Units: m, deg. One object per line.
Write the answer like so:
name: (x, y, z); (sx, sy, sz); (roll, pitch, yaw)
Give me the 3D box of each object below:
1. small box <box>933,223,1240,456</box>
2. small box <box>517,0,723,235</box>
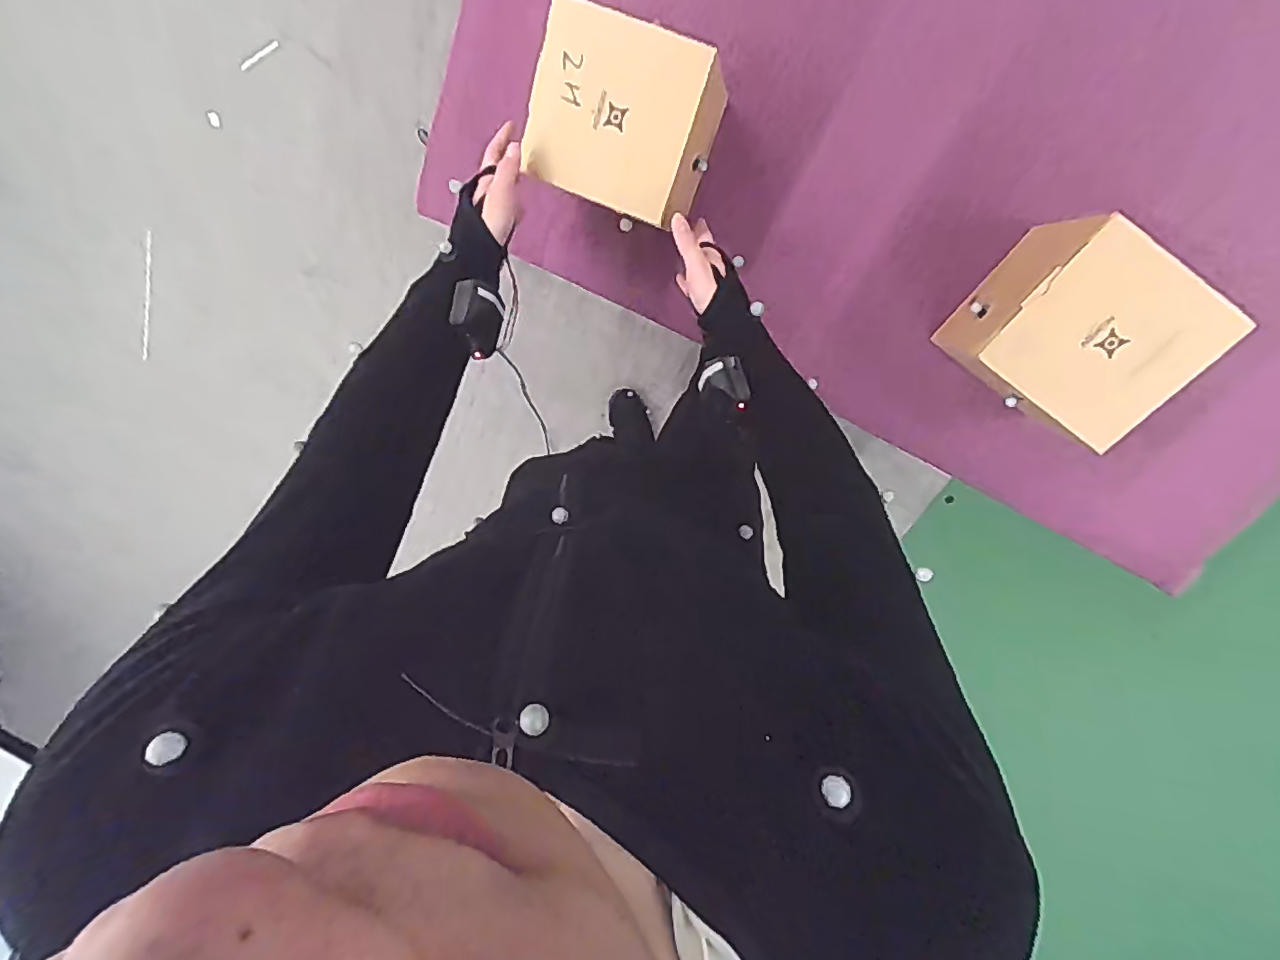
small box: (0.476, -0.160, 0.615); (0.179, 0.176, 0.168); (37, 114, -4)
small box: (-0.014, -0.399, 0.631); (0.179, 0.176, 0.168); (23, 114, 3)
